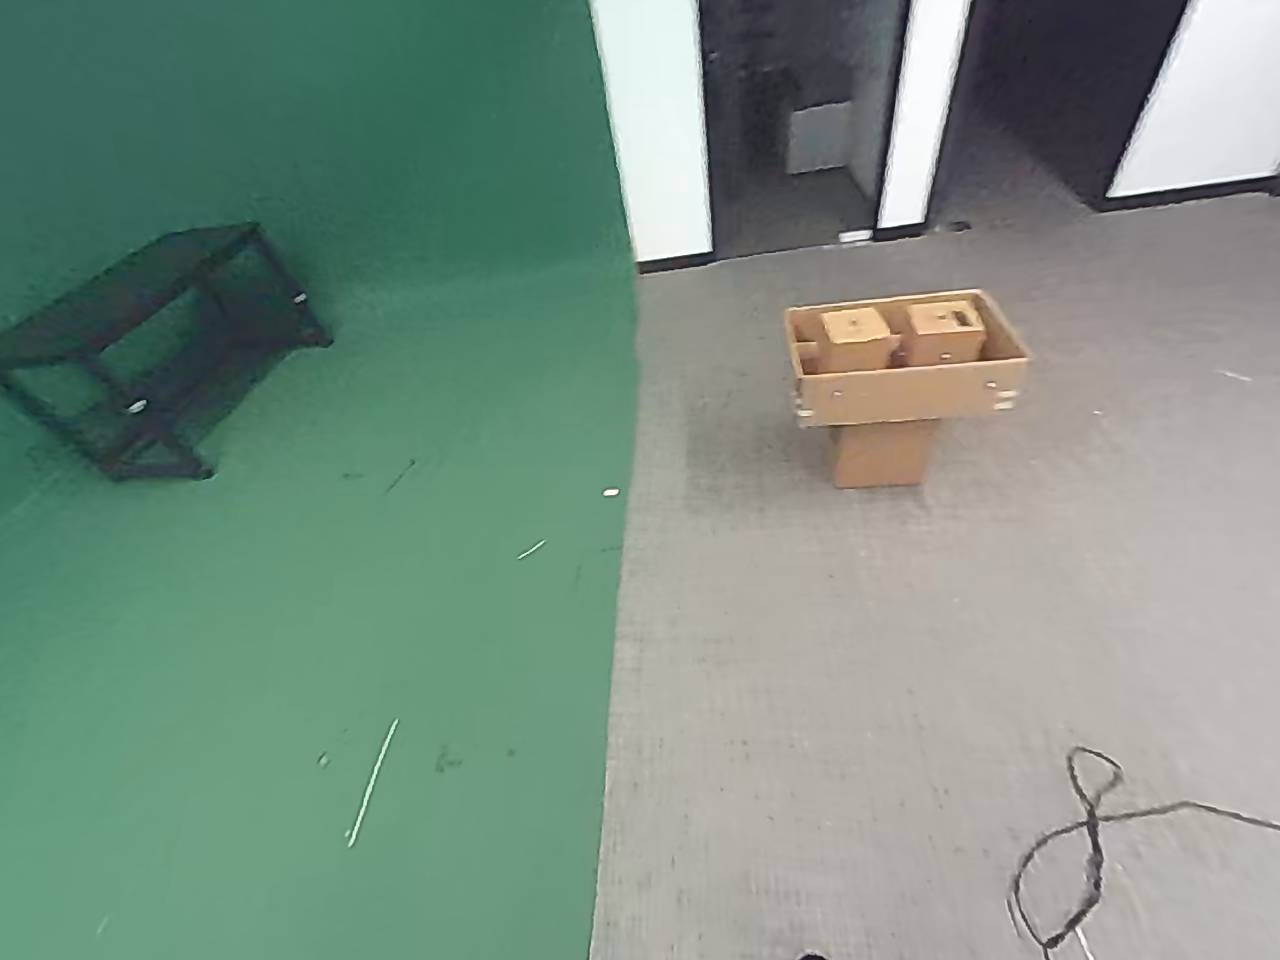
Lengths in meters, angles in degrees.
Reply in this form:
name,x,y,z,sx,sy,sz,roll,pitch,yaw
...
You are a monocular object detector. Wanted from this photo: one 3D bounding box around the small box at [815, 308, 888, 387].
name,x,y,z,sx,sy,sz,roll,pitch,yaw
small box,0.654,-0.414,1.694,0.168,0.176,0.179,-6,46,7
